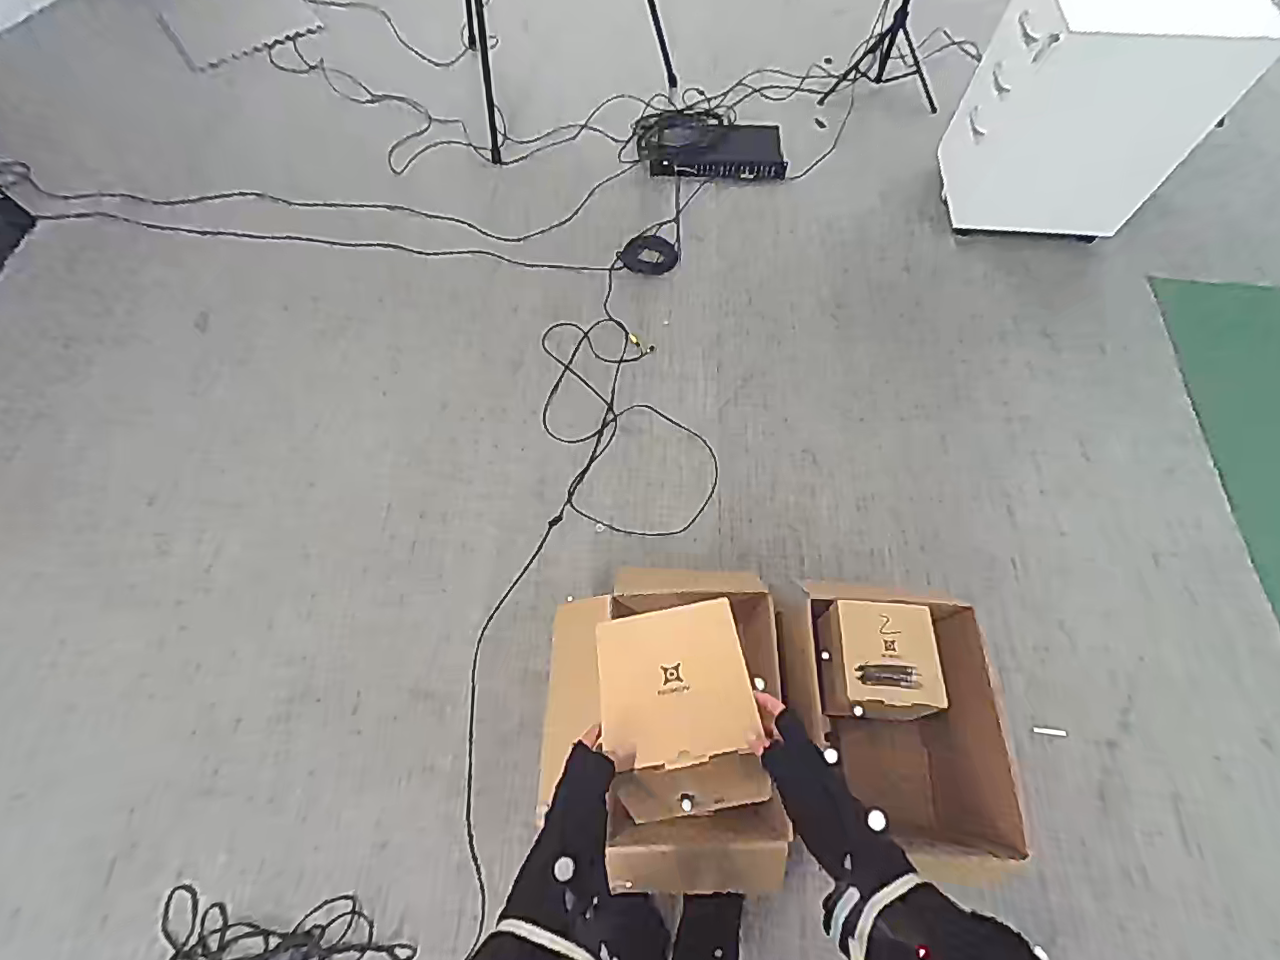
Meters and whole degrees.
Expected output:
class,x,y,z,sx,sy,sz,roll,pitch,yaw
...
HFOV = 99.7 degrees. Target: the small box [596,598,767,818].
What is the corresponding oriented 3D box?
class,x,y,z,sx,sy,sz,roll,pitch,yaw
small box,0.047,0.272,0.643,0.168,0.176,0.179,-12,44,3
